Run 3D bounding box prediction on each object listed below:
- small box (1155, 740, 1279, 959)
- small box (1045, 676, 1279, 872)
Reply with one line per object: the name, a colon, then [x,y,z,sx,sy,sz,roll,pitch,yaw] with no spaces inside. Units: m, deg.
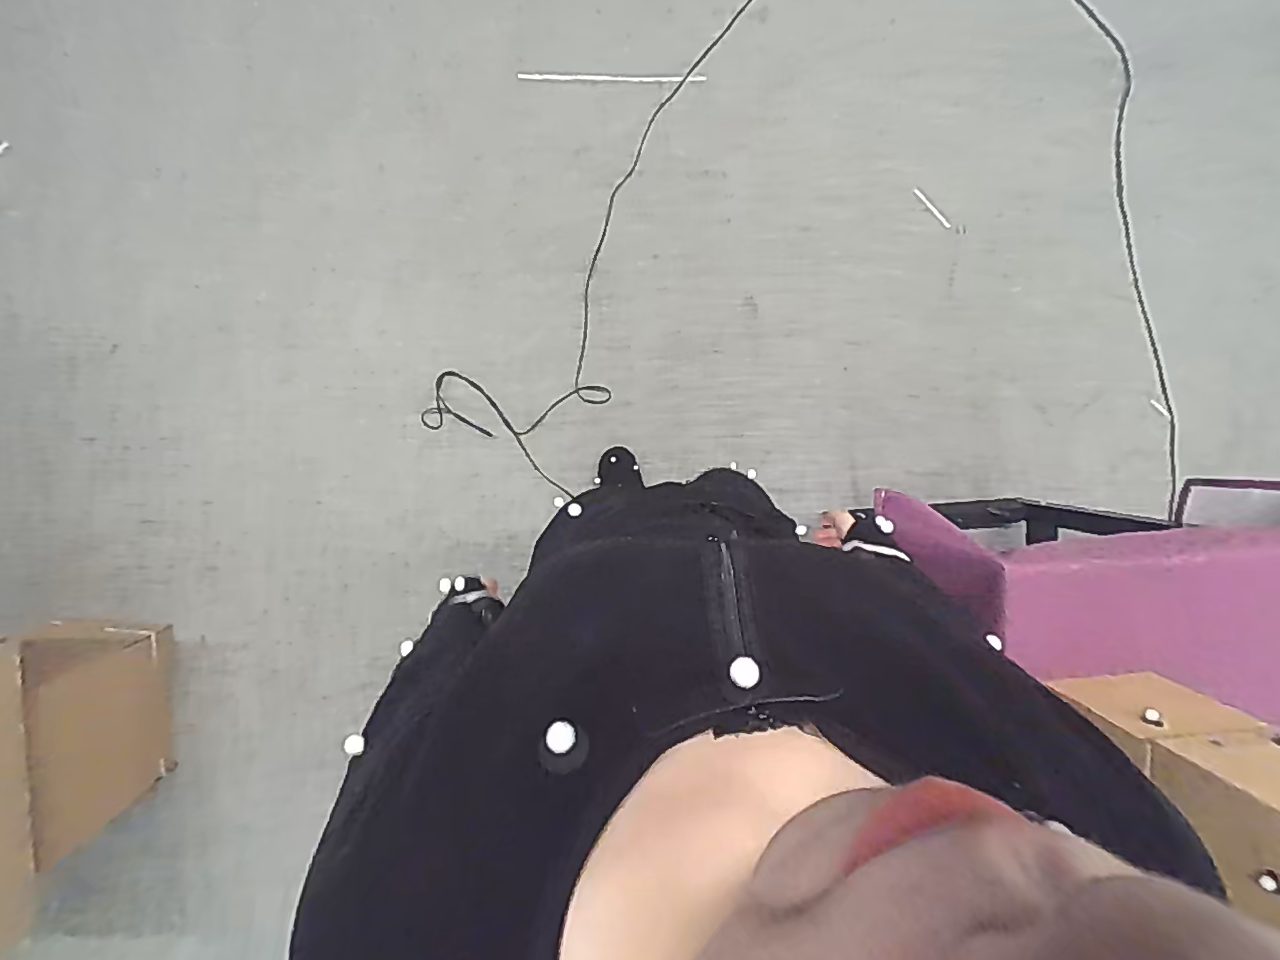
small box: [0.694,0.393,0.563,0.168,0.176,0.179,-4,95,-2]
small box: [0.688,0.381,0.727,0.179,0.176,0.168,-3,95,-2]
